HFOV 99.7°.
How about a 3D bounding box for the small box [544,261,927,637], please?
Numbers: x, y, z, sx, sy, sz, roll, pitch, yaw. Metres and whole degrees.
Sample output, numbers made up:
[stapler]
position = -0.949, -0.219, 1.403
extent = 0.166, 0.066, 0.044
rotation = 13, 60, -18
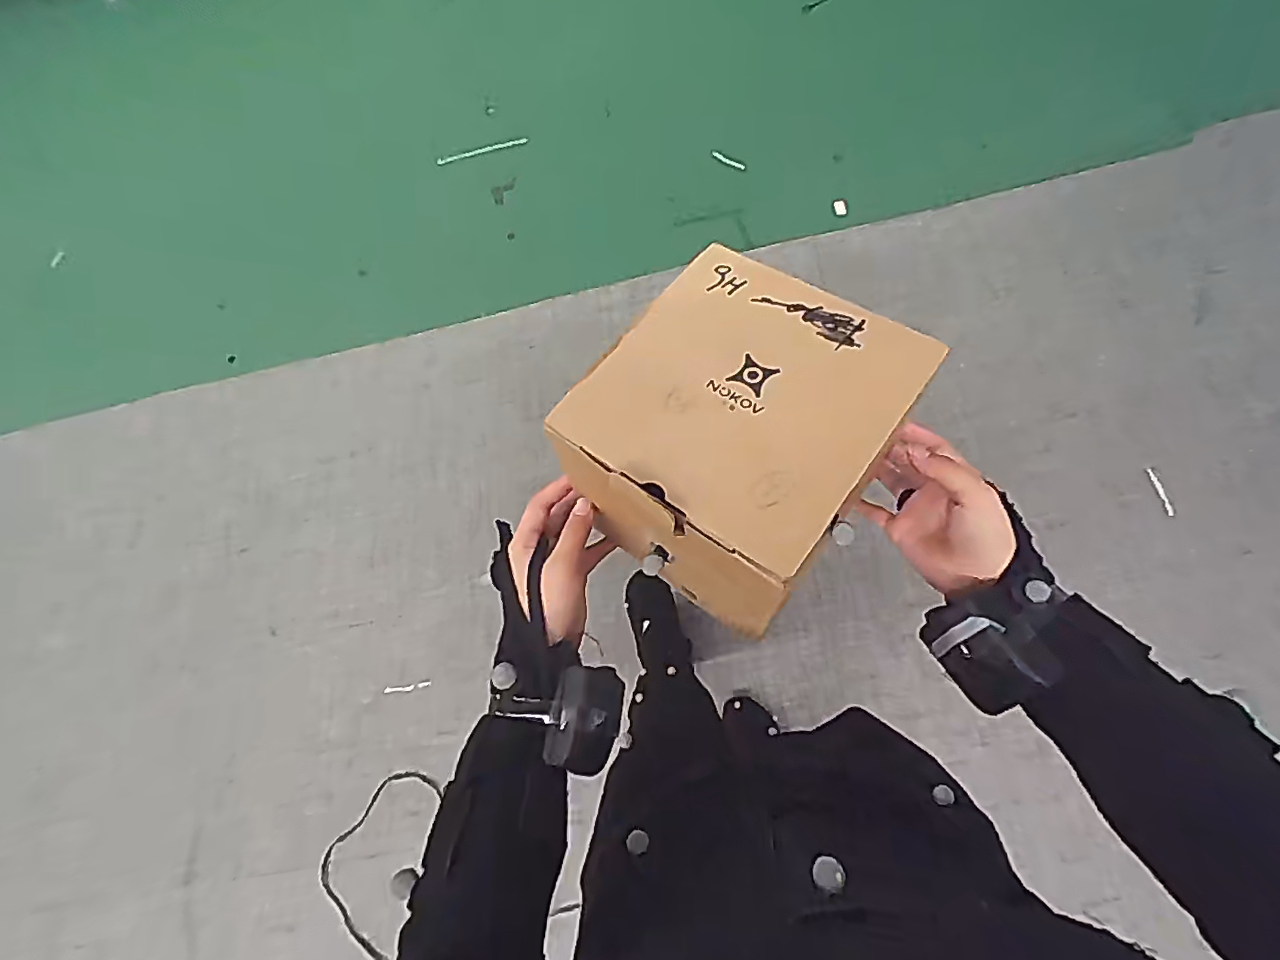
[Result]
[small box]
position = 0.065, -0.012, 0.392
extent = 0.168, 0.176, 0.179
rotation = 34, 72, 21
